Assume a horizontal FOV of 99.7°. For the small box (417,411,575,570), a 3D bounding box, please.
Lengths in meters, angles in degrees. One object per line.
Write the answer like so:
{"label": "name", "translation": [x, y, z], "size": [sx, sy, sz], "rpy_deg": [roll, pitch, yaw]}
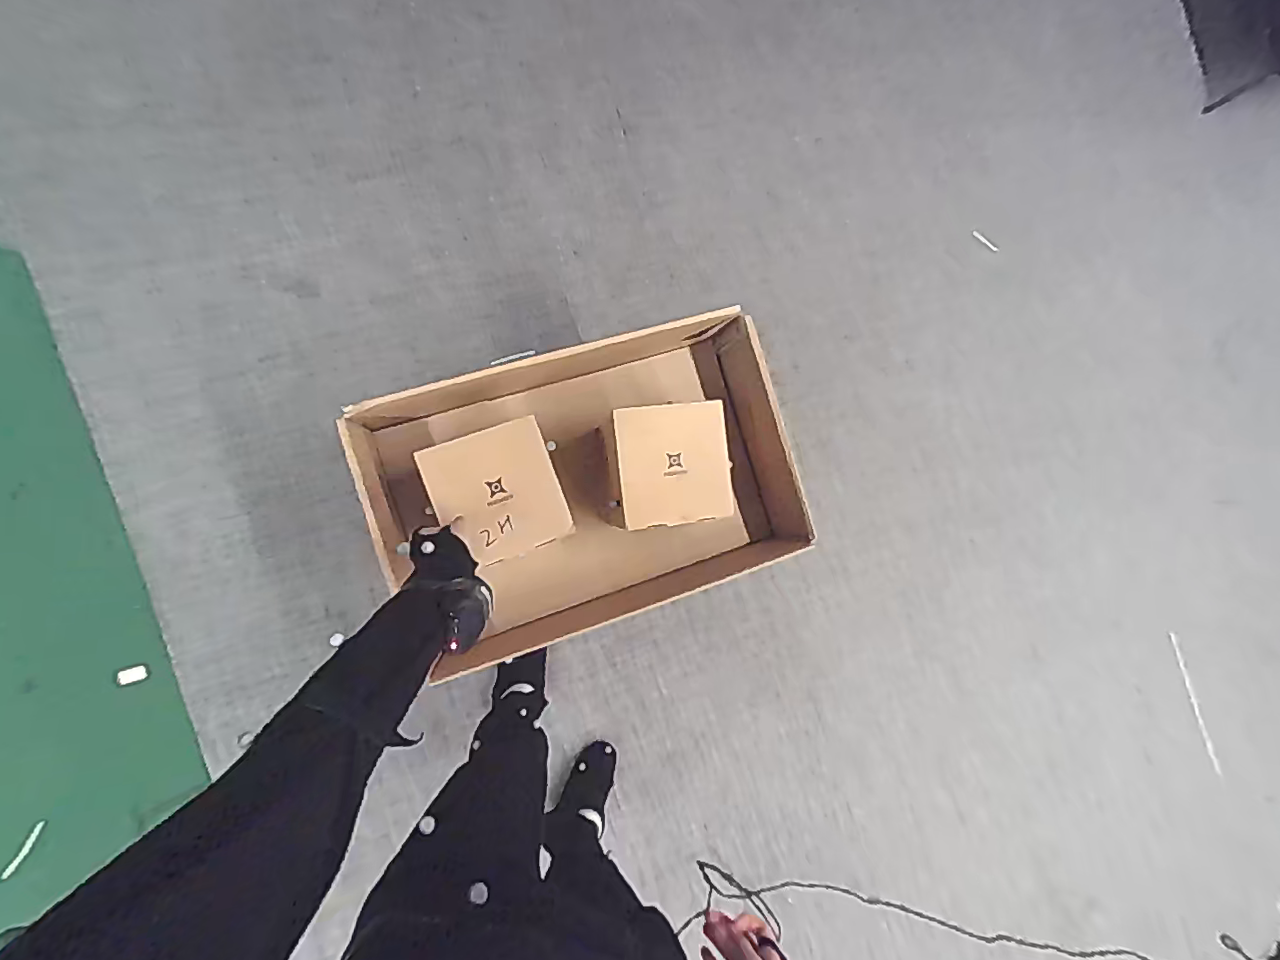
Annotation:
{"label": "small box", "translation": [-0.208, 0.017, 0.794], "size": [0.168, 0.176, 0.179], "rpy_deg": [-19, 92, -13]}
